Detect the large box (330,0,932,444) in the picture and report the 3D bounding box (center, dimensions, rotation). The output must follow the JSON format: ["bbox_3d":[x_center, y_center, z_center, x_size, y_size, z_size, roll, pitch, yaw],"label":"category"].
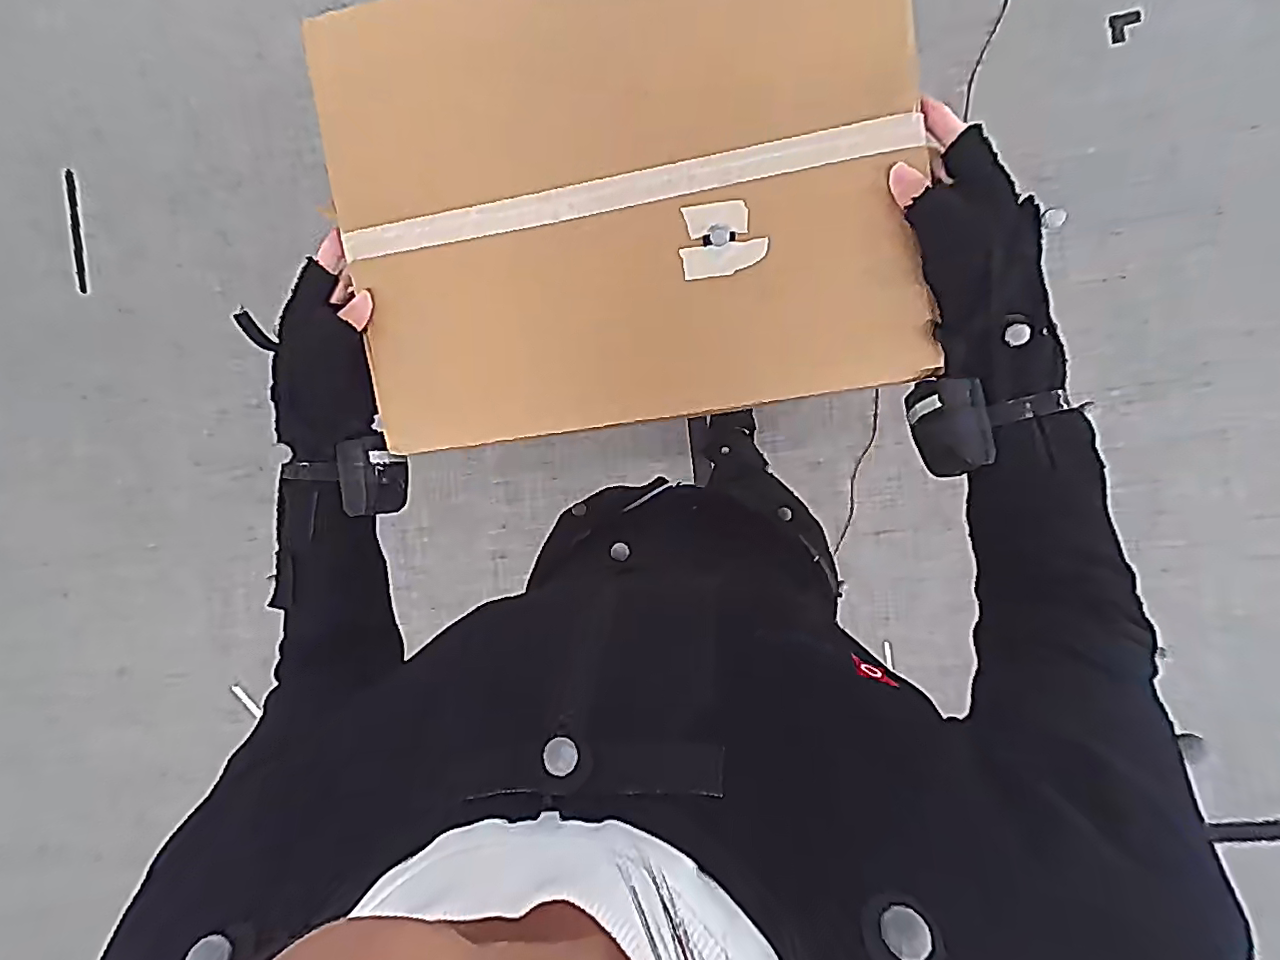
[{"bbox_3d":[0.002,-0.225,0.535,0.408,0.320,0.320,-8,97,6],"label":"large box"}]
